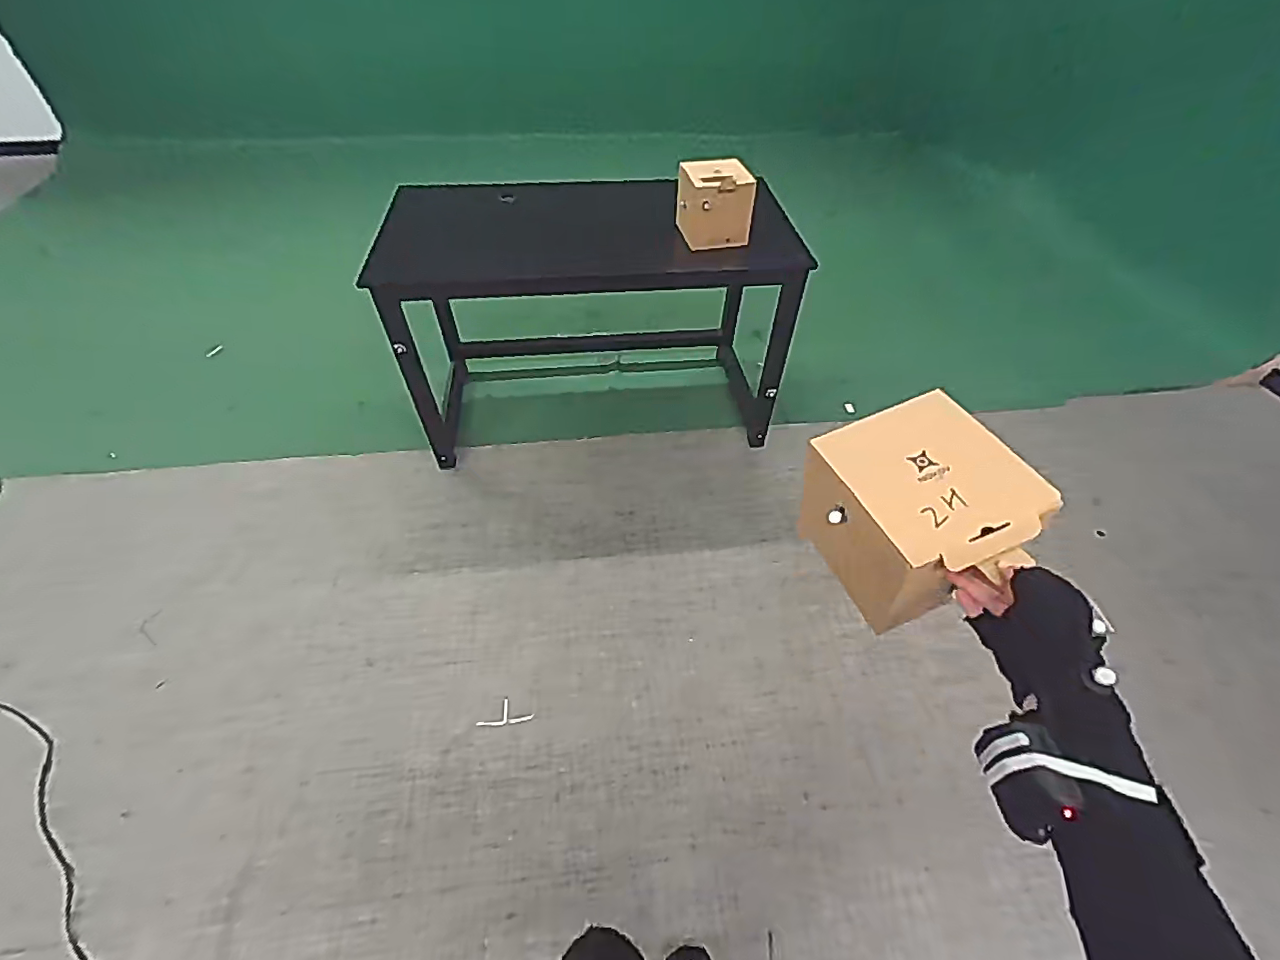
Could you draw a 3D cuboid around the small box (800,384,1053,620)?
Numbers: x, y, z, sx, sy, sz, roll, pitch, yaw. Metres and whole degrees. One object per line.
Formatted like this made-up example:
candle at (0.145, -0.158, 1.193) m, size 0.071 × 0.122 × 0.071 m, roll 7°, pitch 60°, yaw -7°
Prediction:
small box at (0.300, 0.028, 0.617) m, size 0.168 × 0.176 × 0.179 m, roll -22°, pitch 53°, yaw -5°
